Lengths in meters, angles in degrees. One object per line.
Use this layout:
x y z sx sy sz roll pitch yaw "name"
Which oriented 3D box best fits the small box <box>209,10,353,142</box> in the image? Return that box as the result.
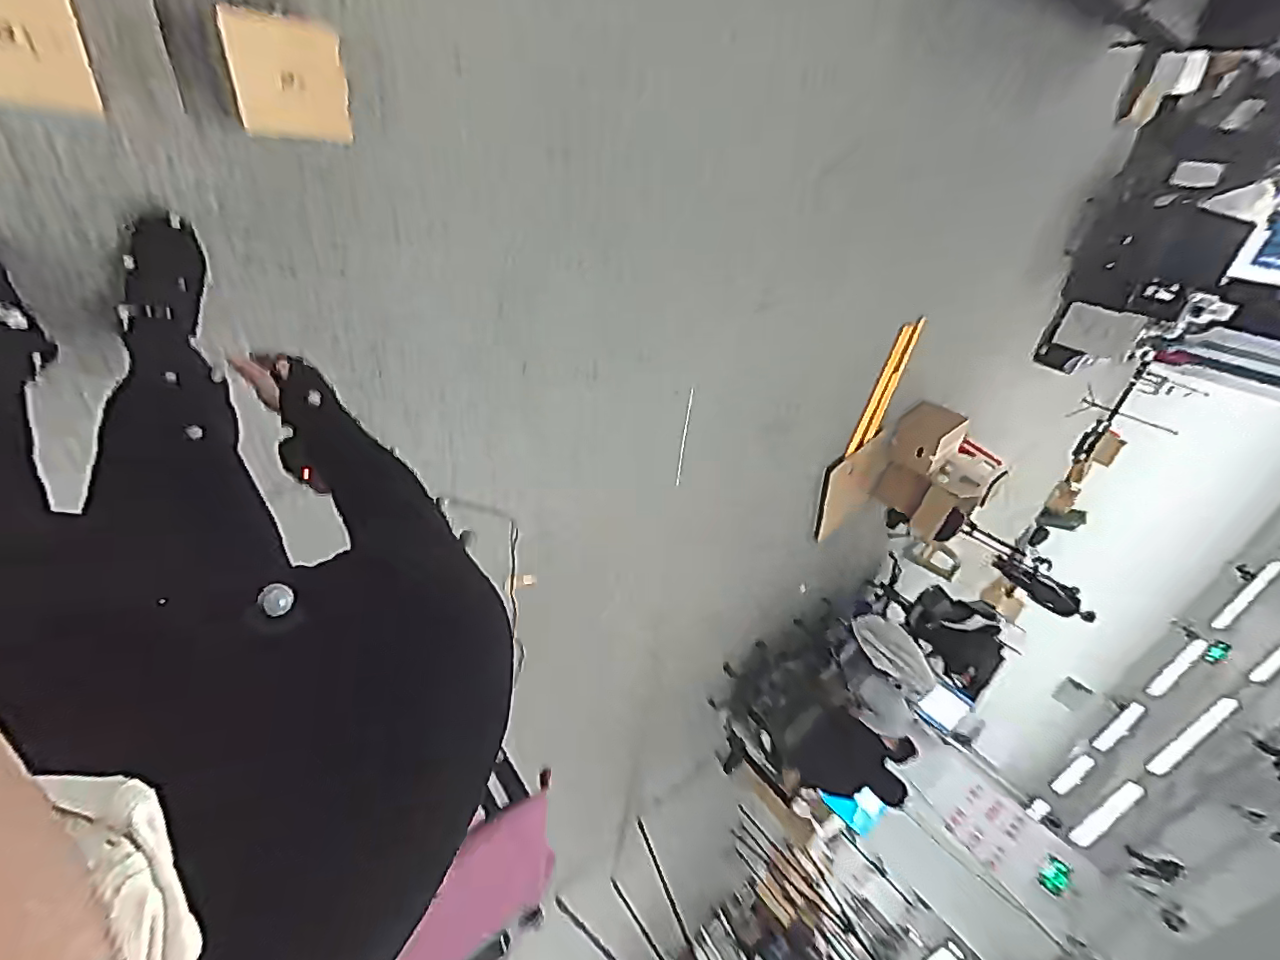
-0.649 -0.718 0.978 0.179 0.176 0.168 -20 131 -35 "small box"
